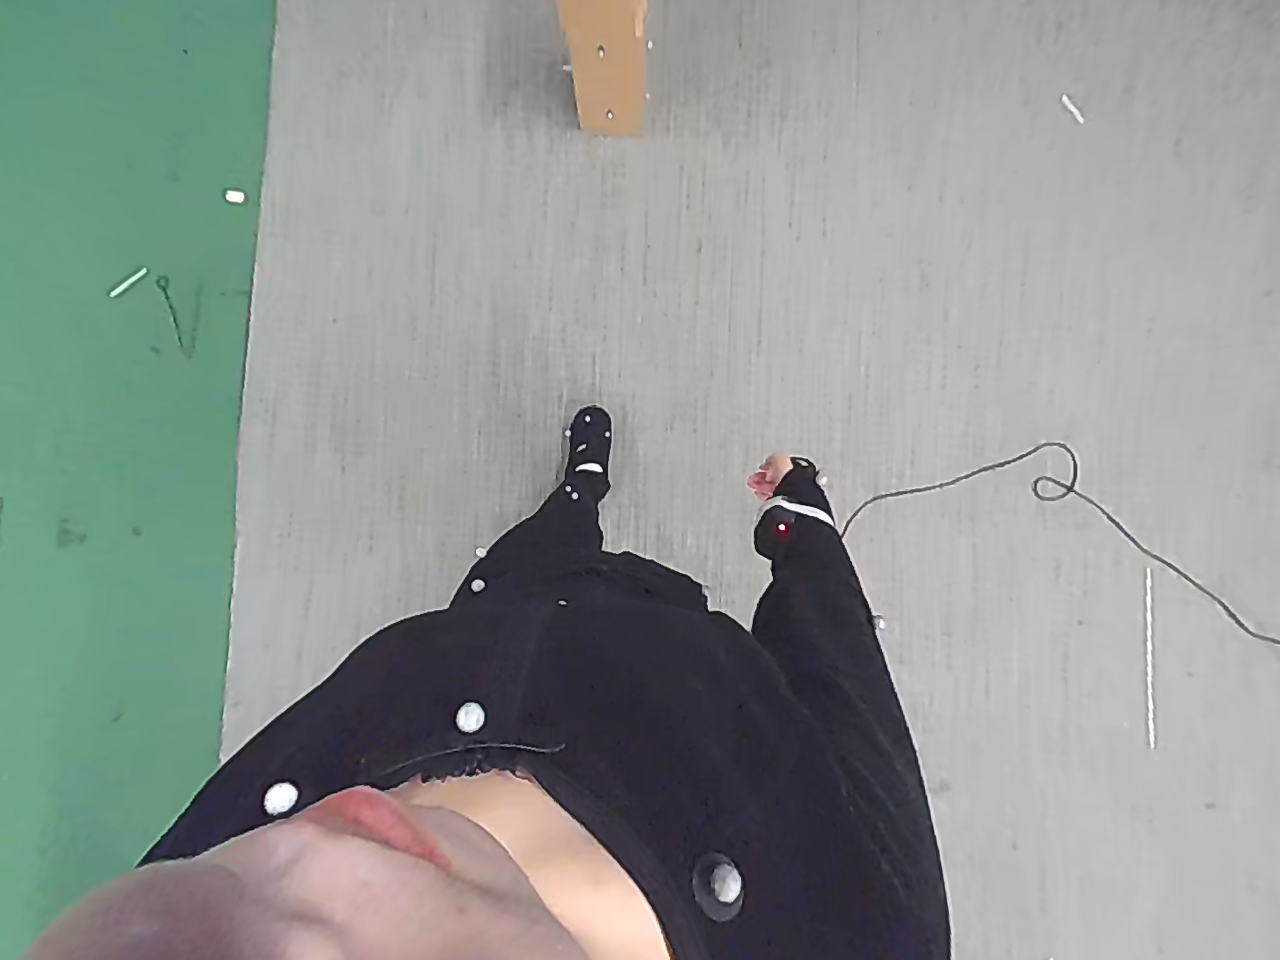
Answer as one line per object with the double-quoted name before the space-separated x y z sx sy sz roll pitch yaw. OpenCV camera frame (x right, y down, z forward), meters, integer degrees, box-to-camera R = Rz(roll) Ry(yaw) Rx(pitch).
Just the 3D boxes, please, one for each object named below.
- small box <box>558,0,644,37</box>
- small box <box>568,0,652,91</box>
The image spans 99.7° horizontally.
"small box" -0.079 -1.077 1.127 0.179 0.176 0.168 9 88 0
"small box" -0.067 -1.070 1.290 0.179 0.176 0.168 6 88 0
